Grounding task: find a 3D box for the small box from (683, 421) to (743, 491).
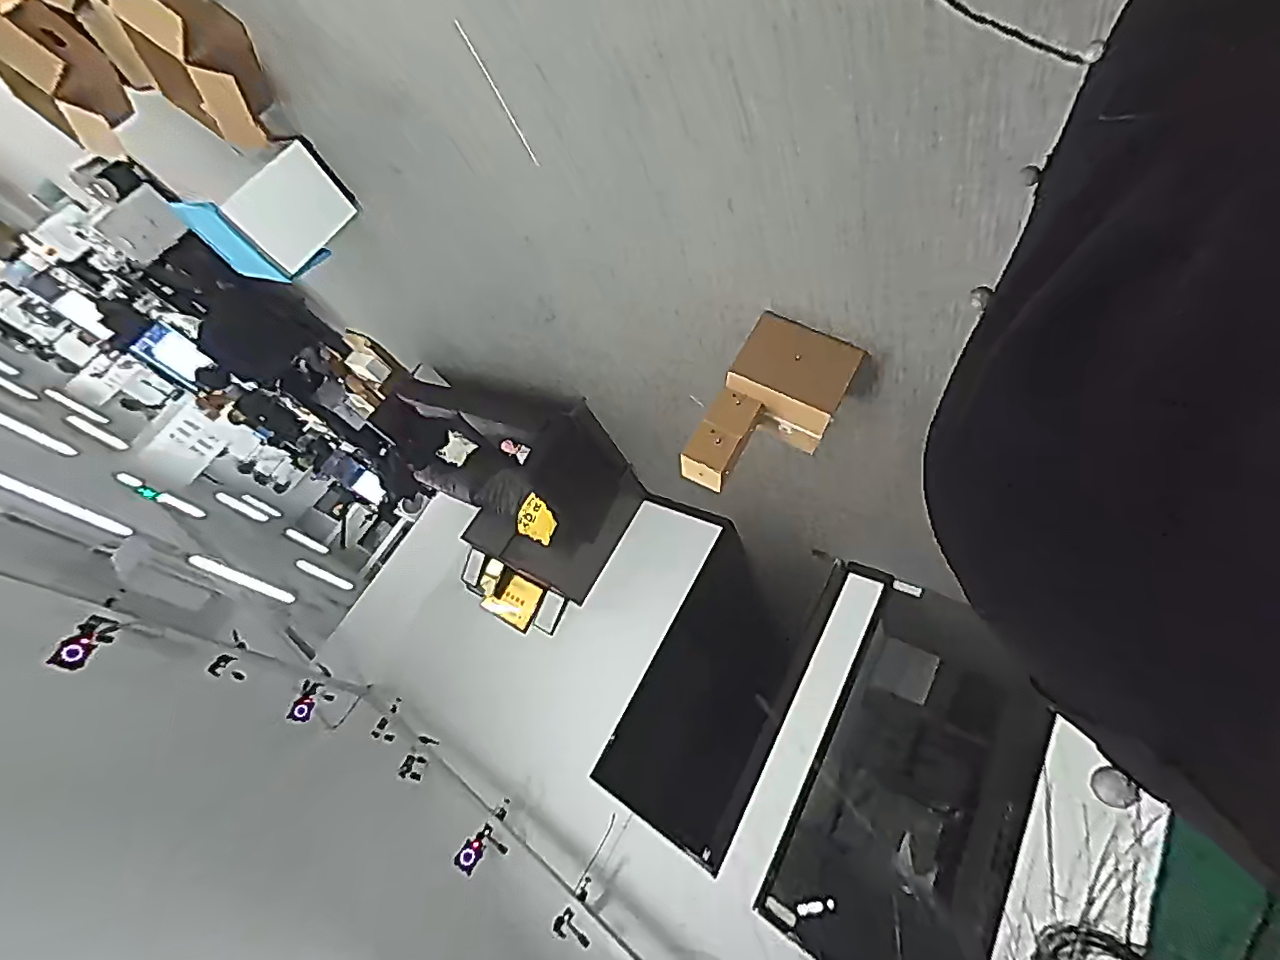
[{"bbox_3d":[0.275,-0.091,2.020,0.168,0.176,0.179,26,161,18],"label":"small box"}]
